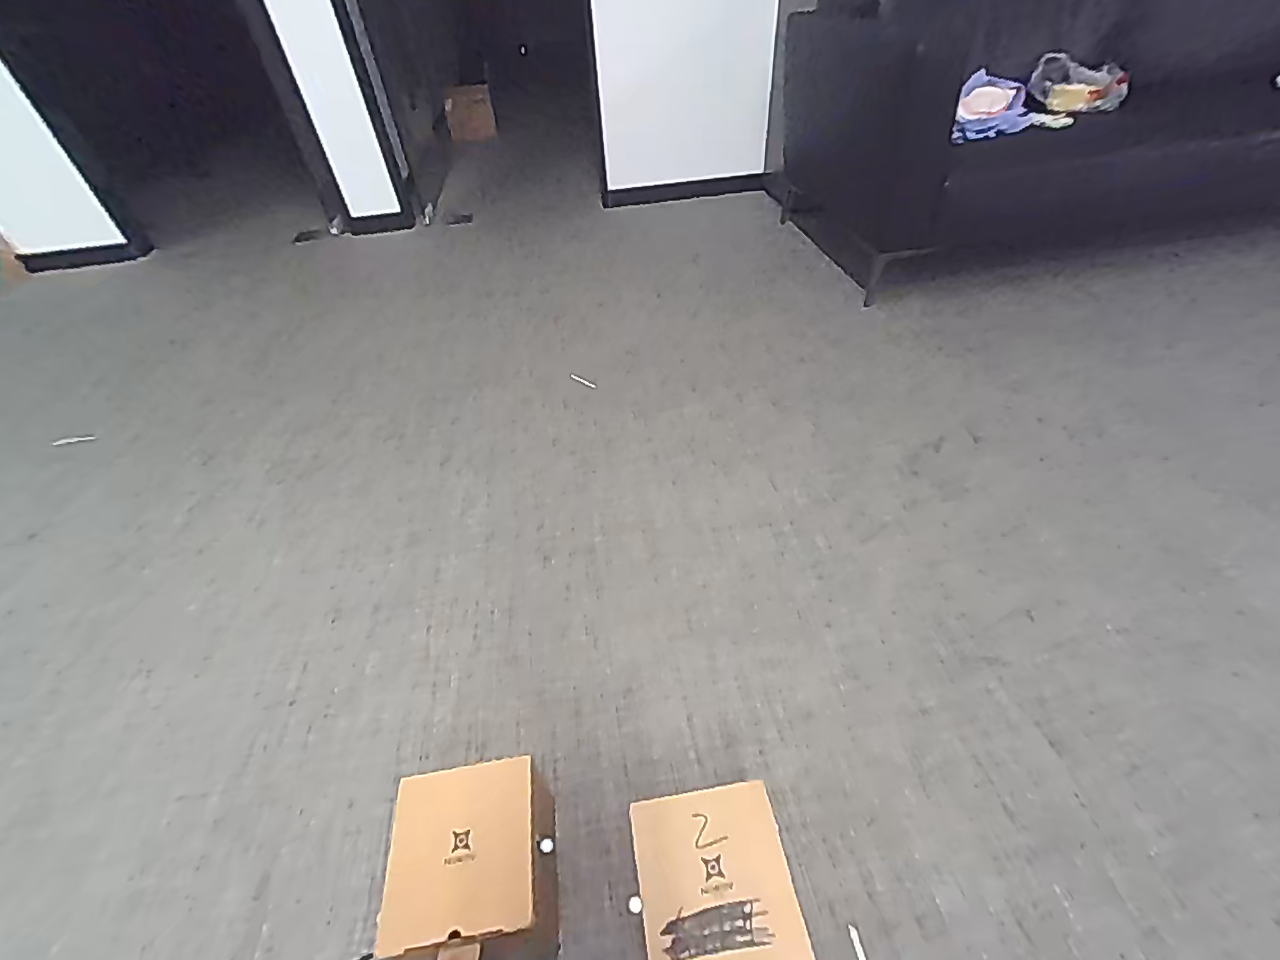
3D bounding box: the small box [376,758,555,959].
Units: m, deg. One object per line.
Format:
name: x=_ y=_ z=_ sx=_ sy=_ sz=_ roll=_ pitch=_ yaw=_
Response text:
small box: x=-0.202 y=0.483 z=0.681 sx=0.168 sy=0.176 sz=0.179 roll=-8 pitch=44 yaw=-4
